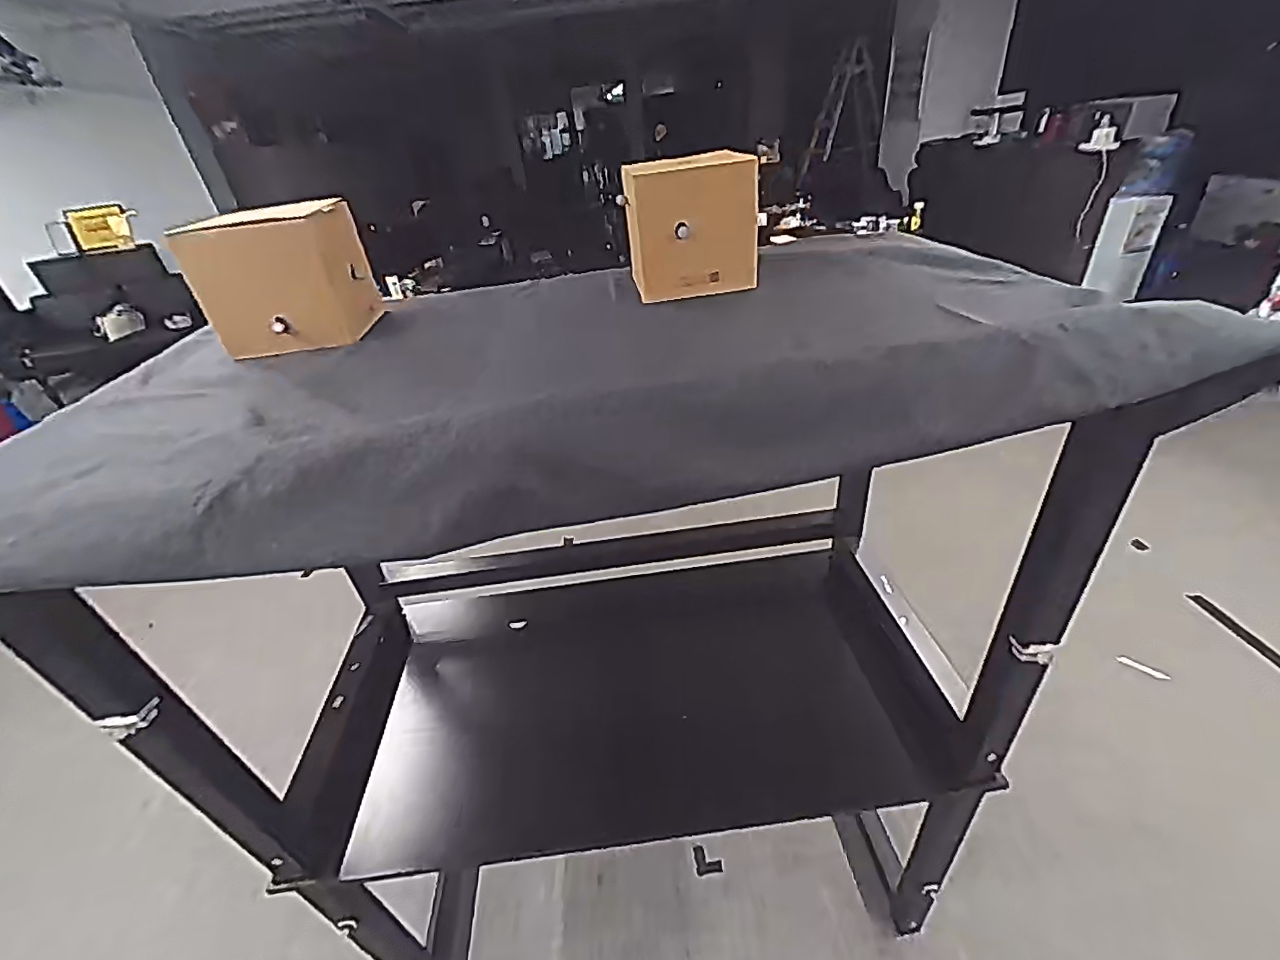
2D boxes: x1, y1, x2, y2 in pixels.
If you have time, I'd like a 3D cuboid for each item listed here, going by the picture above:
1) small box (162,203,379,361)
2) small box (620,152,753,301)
[{"bbox_3d":[-0.503,-0.285,0.774,0.179,0.176,0.168,-8,34,-3],"label":"small box"},{"bbox_3d":[0.067,-0.371,0.798,0.168,0.176,0.179,-9,34,-2],"label":"small box"}]
